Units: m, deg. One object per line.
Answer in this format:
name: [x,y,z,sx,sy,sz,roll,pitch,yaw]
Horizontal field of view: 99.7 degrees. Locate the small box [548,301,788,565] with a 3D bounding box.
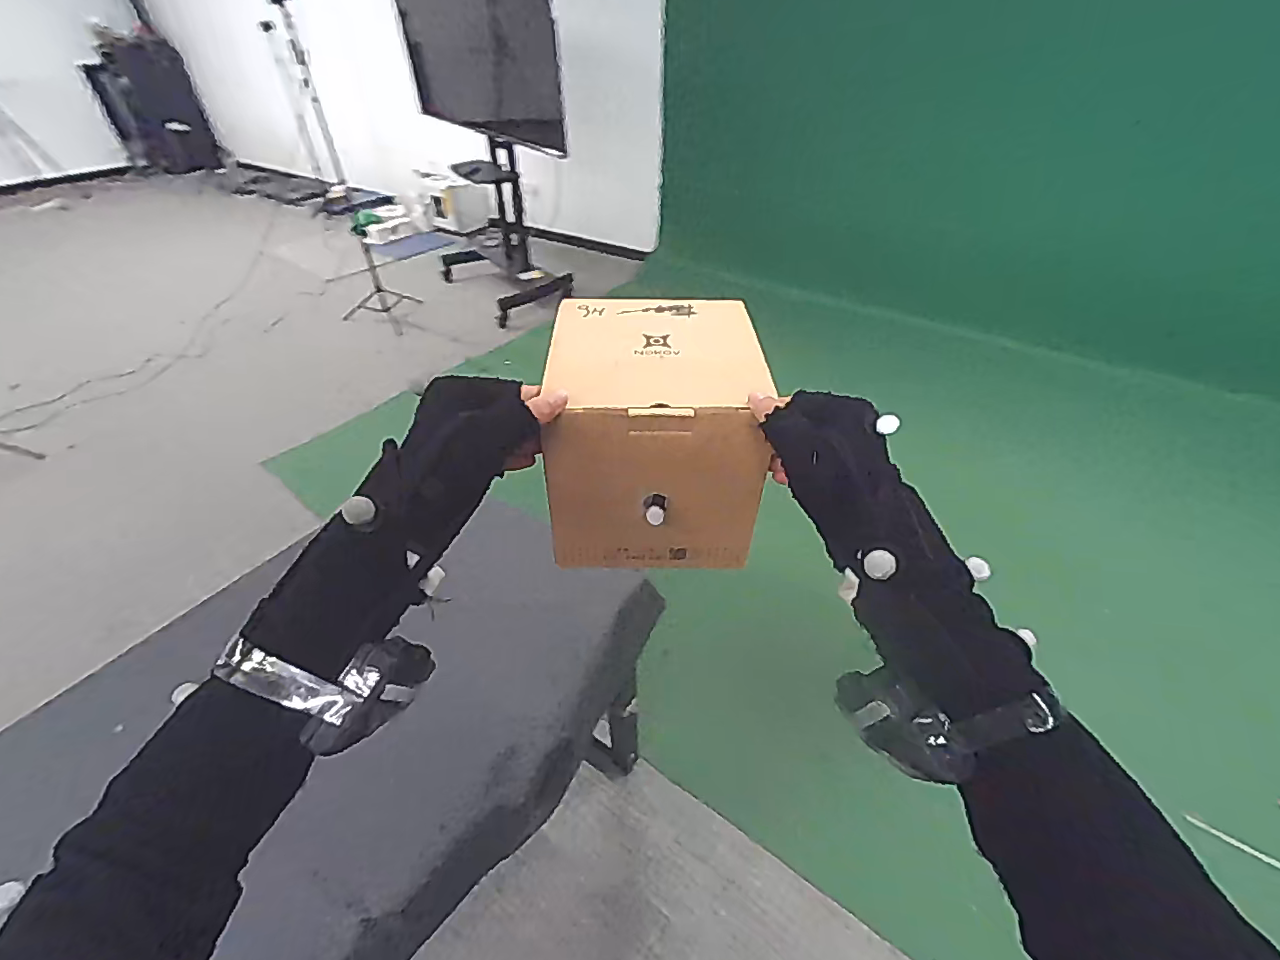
small box: [0.020,-0.041,0.475,0.168,0.176,0.179,1,42,-1]
